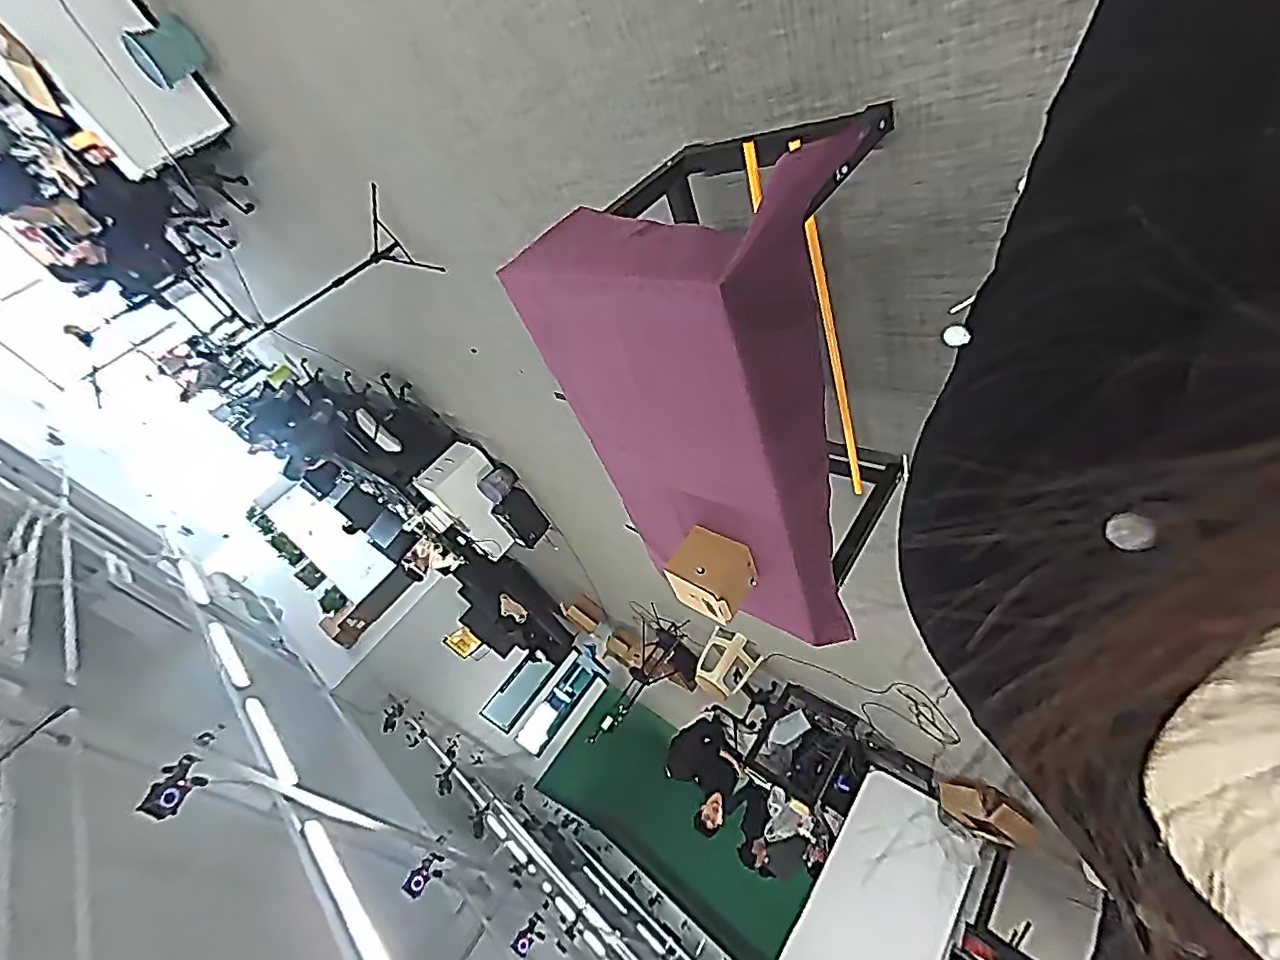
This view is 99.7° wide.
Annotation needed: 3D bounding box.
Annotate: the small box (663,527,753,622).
[{"bbox_3d":[0.196,0.256,1.498,0.179,0.176,0.168,21,149,38],"label":"small box"}]
